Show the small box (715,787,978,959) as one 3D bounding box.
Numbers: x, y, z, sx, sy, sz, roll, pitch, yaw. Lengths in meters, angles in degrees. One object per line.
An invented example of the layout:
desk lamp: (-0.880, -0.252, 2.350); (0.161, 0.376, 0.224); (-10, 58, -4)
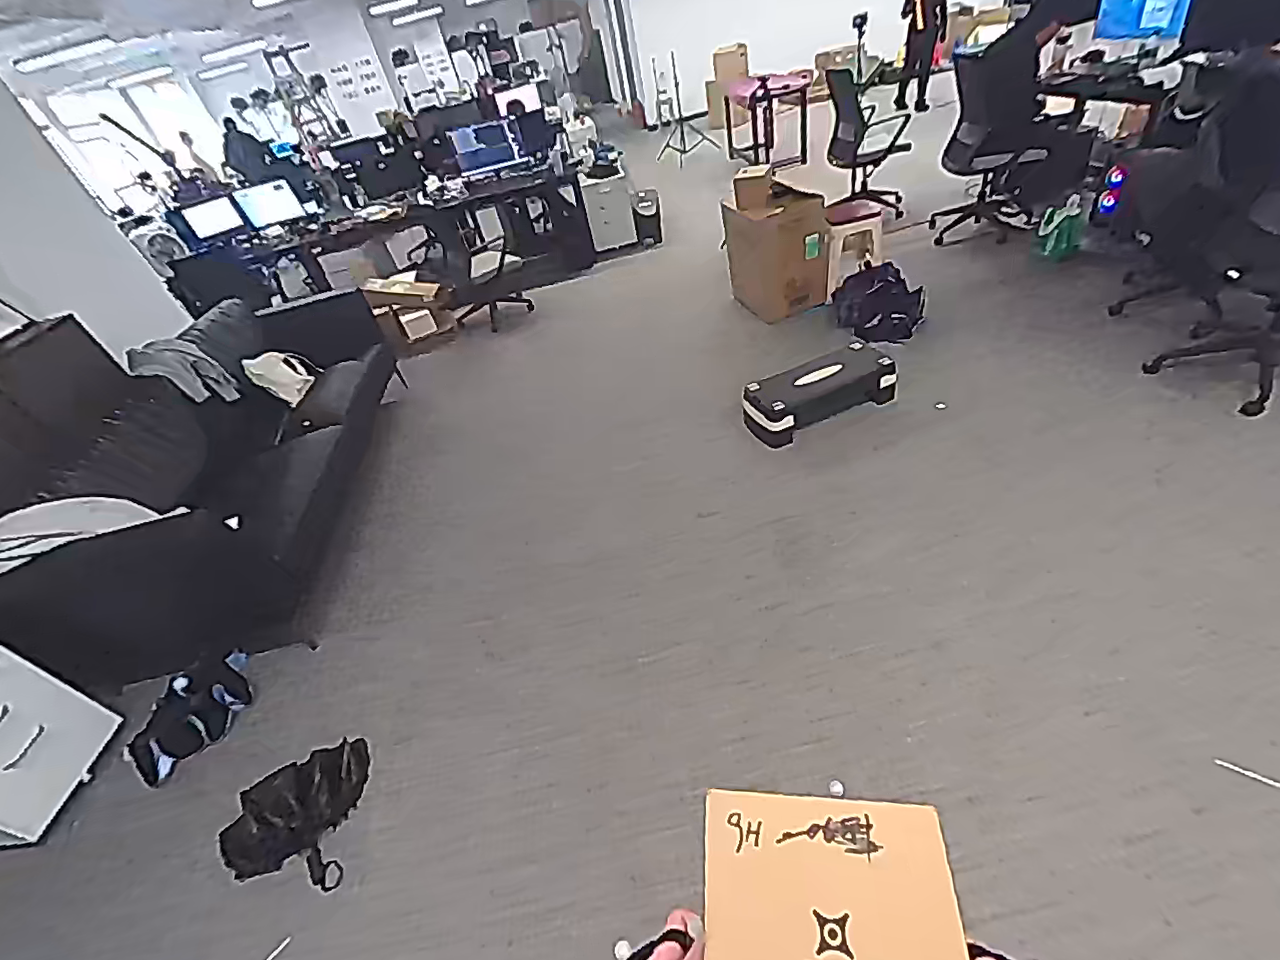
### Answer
small box: (0.142, 0.351, 0.414); (0.168, 0.176, 0.179); (0, 53, 8)
